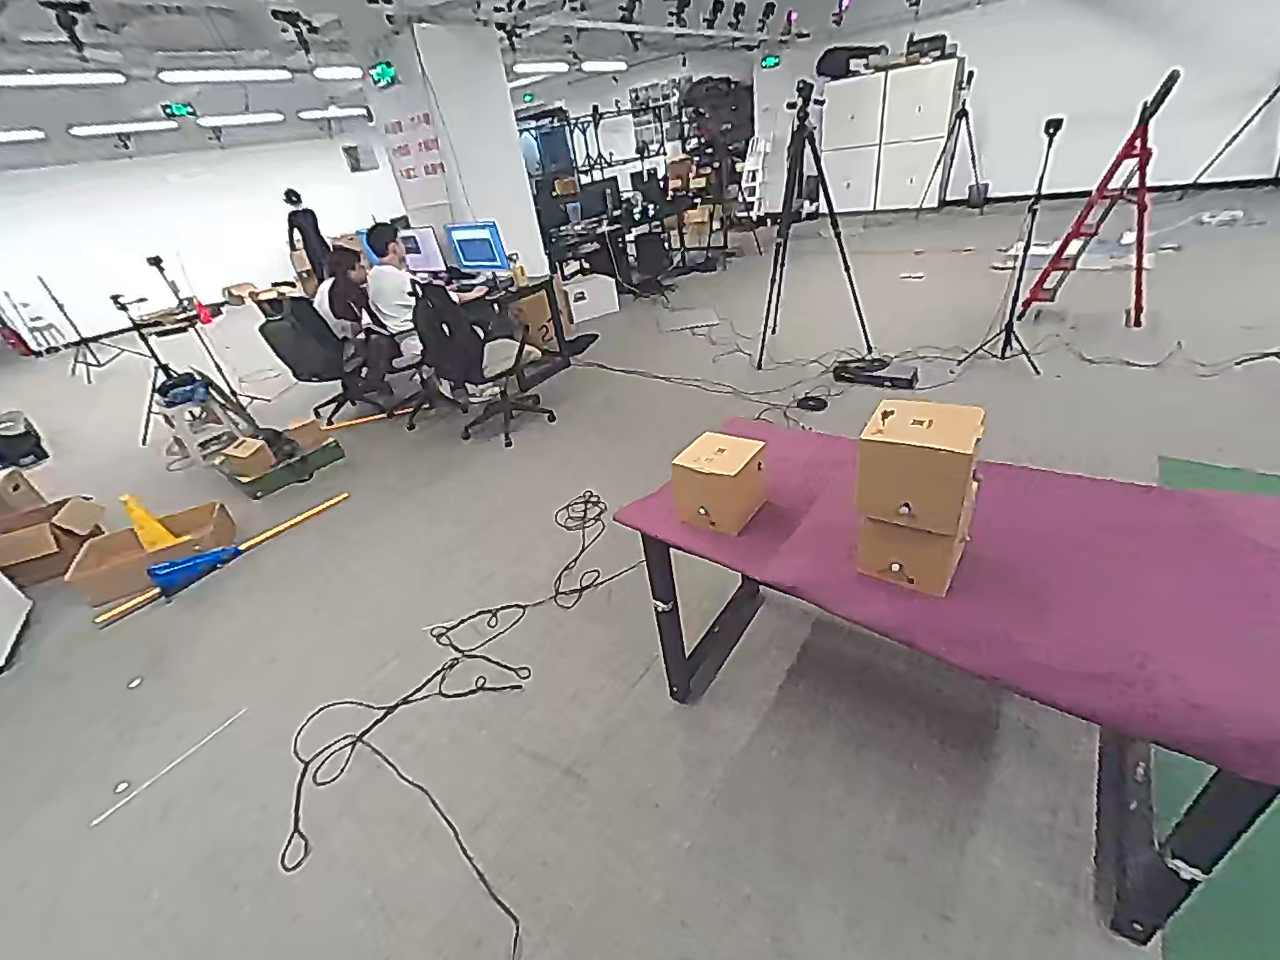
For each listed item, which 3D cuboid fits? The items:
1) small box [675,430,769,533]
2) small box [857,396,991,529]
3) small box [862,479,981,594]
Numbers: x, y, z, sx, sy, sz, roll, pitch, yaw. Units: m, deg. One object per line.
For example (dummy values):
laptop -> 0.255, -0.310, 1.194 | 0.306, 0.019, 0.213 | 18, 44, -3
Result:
small box -> 0.202, 0.000, 1.313 | 0.168, 0.176, 0.179 | 14, 38, 34
small box -> 0.506, -0.033, 0.974 | 0.179, 0.176, 0.168 | 14, 39, 33
small box -> 0.552, 0.092, 1.073 | 0.168, 0.176, 0.179 | 16, 40, 36
